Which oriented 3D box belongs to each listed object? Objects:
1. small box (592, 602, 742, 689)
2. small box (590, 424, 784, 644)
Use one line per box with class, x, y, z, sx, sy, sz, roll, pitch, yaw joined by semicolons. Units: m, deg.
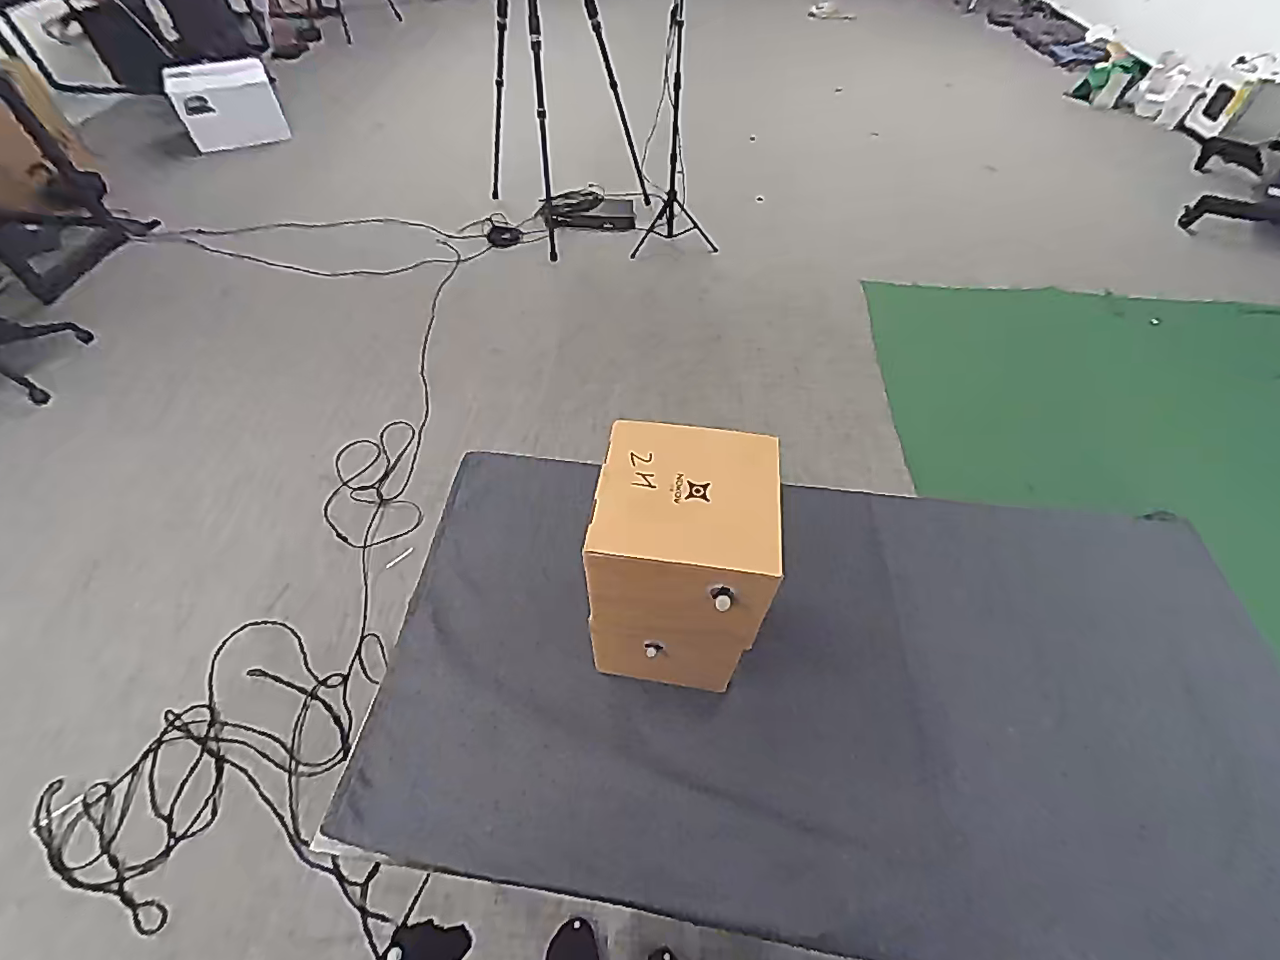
small box;0.041;0.162;0.721;0.179;0.176;0.168;8;51;5
small box;0.049;0.063;0.589;0.179;0.176;0.168;7;51;4
